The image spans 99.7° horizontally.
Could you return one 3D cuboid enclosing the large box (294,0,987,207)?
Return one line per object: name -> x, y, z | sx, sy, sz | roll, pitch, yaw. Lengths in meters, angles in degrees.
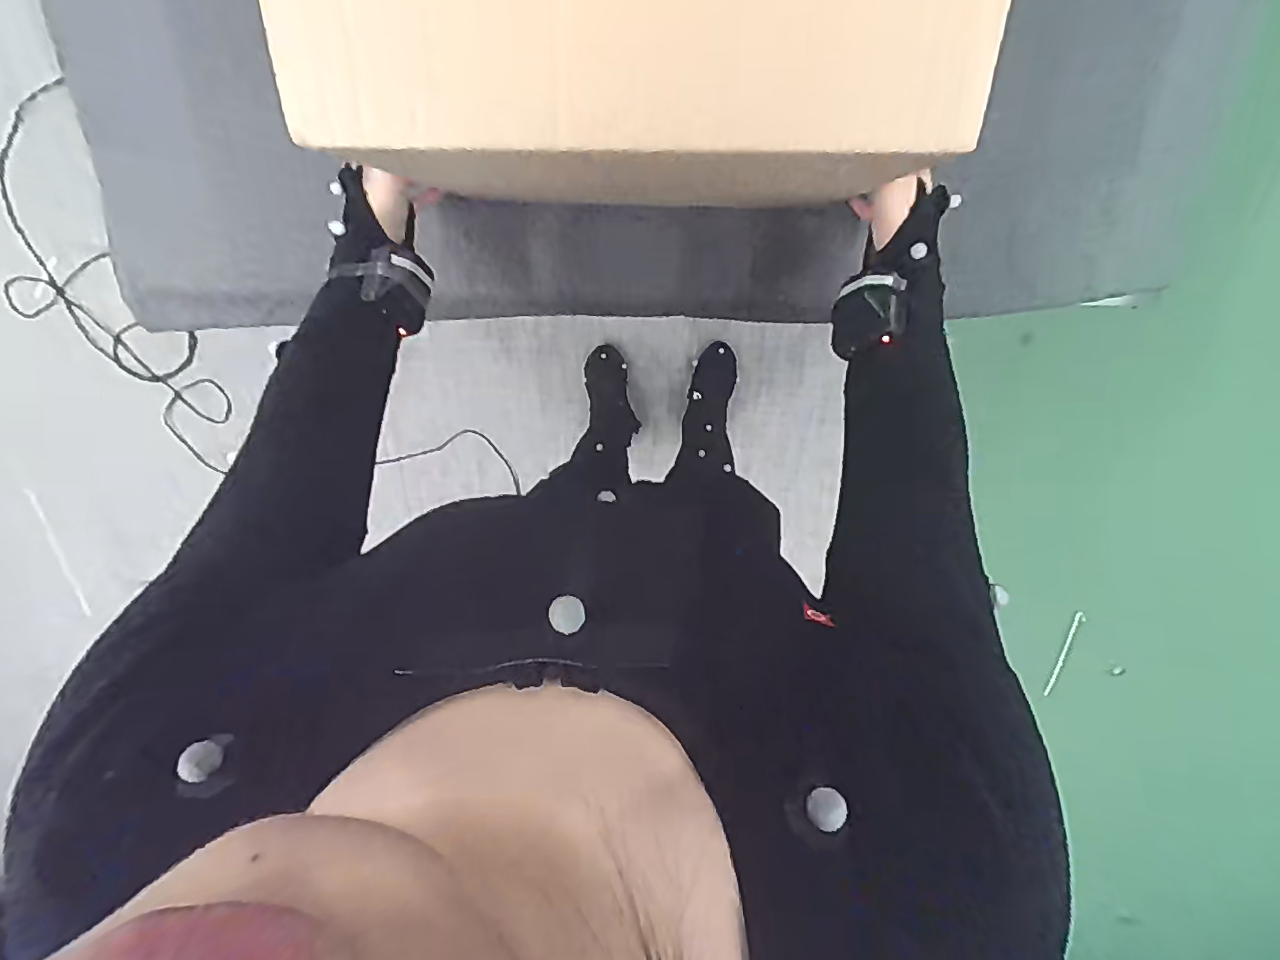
large box -> 0.003, -0.400, 0.418 | 0.408, 0.320, 0.320 | 2, 113, 3
